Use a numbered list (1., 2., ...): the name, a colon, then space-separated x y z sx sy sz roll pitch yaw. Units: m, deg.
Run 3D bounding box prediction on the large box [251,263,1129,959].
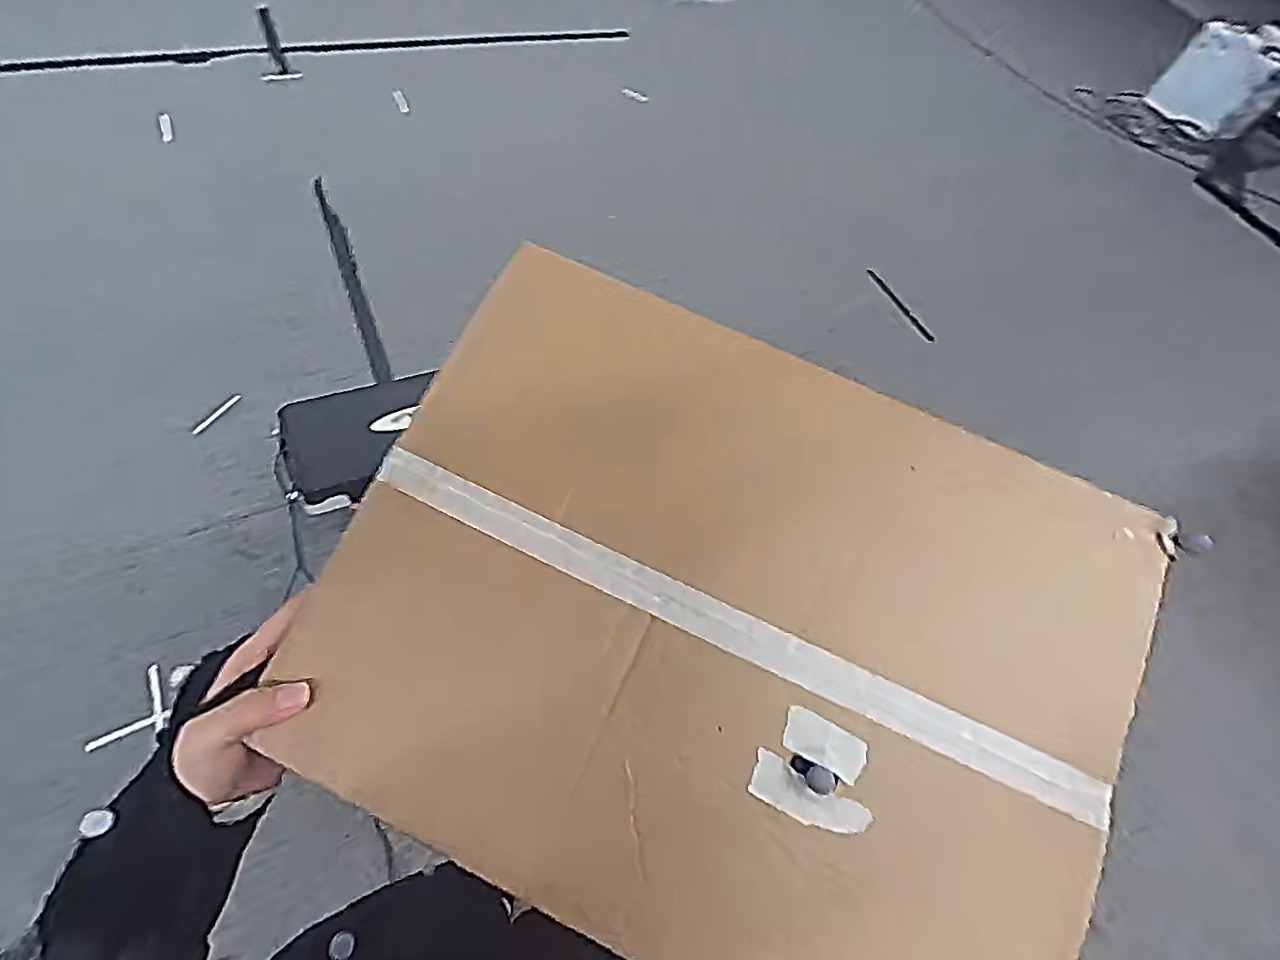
1. large box: 0.037 0.106 0.436 0.408 0.320 0.320 24 79 4
